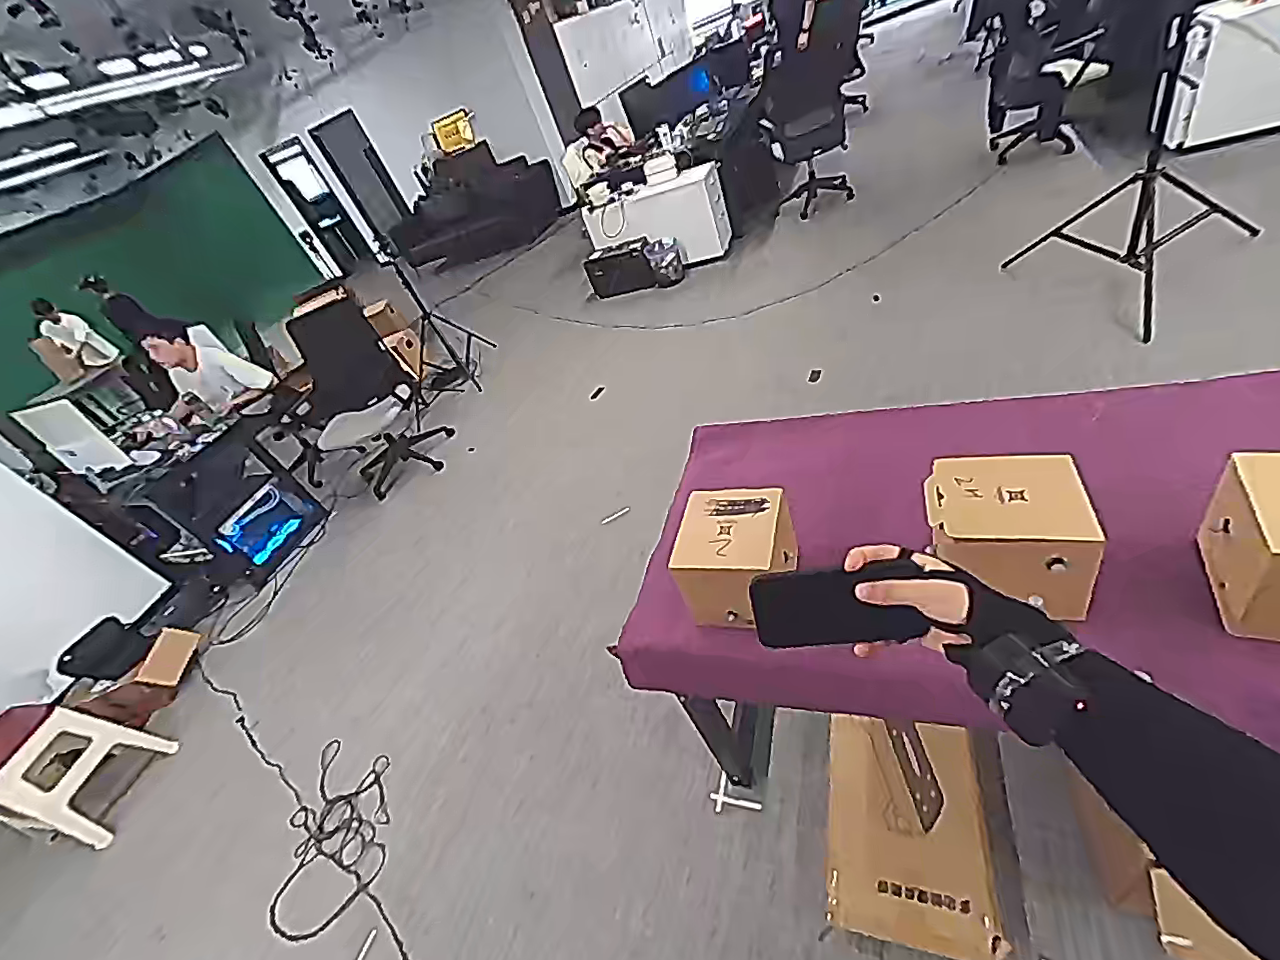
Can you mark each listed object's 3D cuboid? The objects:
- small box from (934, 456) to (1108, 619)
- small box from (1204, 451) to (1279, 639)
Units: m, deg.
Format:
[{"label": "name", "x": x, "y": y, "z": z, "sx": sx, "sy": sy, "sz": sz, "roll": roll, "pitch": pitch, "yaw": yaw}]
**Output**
[{"label": "small box", "x": 0.532, "y": 0.085, "z": 0.786, "sx": 0.179, "sy": 0.176, "sz": 0.168, "roll": -4, "pitch": 40, "yaw": 25}, {"label": "small box", "x": 0.812, "y": 0.082, "z": 0.634, "sx": 0.179, "sy": 0.176, "sz": 0.168, "roll": 2, "pitch": 45, "yaw": 30}]
